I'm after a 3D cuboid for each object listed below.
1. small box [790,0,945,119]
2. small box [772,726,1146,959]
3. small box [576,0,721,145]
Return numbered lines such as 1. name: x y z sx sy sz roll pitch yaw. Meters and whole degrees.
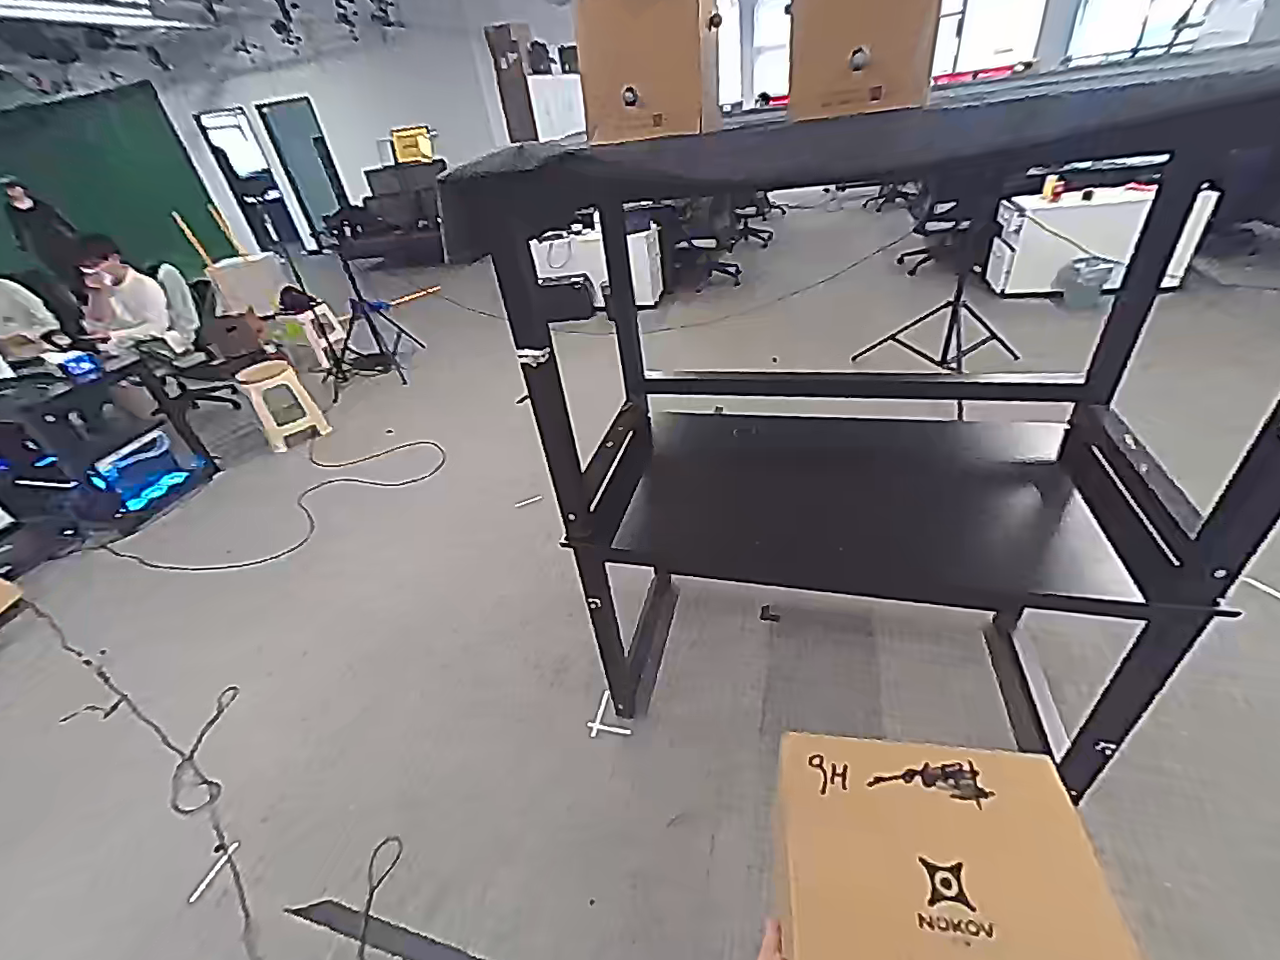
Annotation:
1. small box: 0.283 -0.568 0.690 0.168 0.176 0.179 4 35 17
2. small box: 0.170 0.282 0.329 0.168 0.176 0.179 1 38 10
3. small box: 0.022 -0.584 0.770 0.168 0.176 0.179 4 36 15
